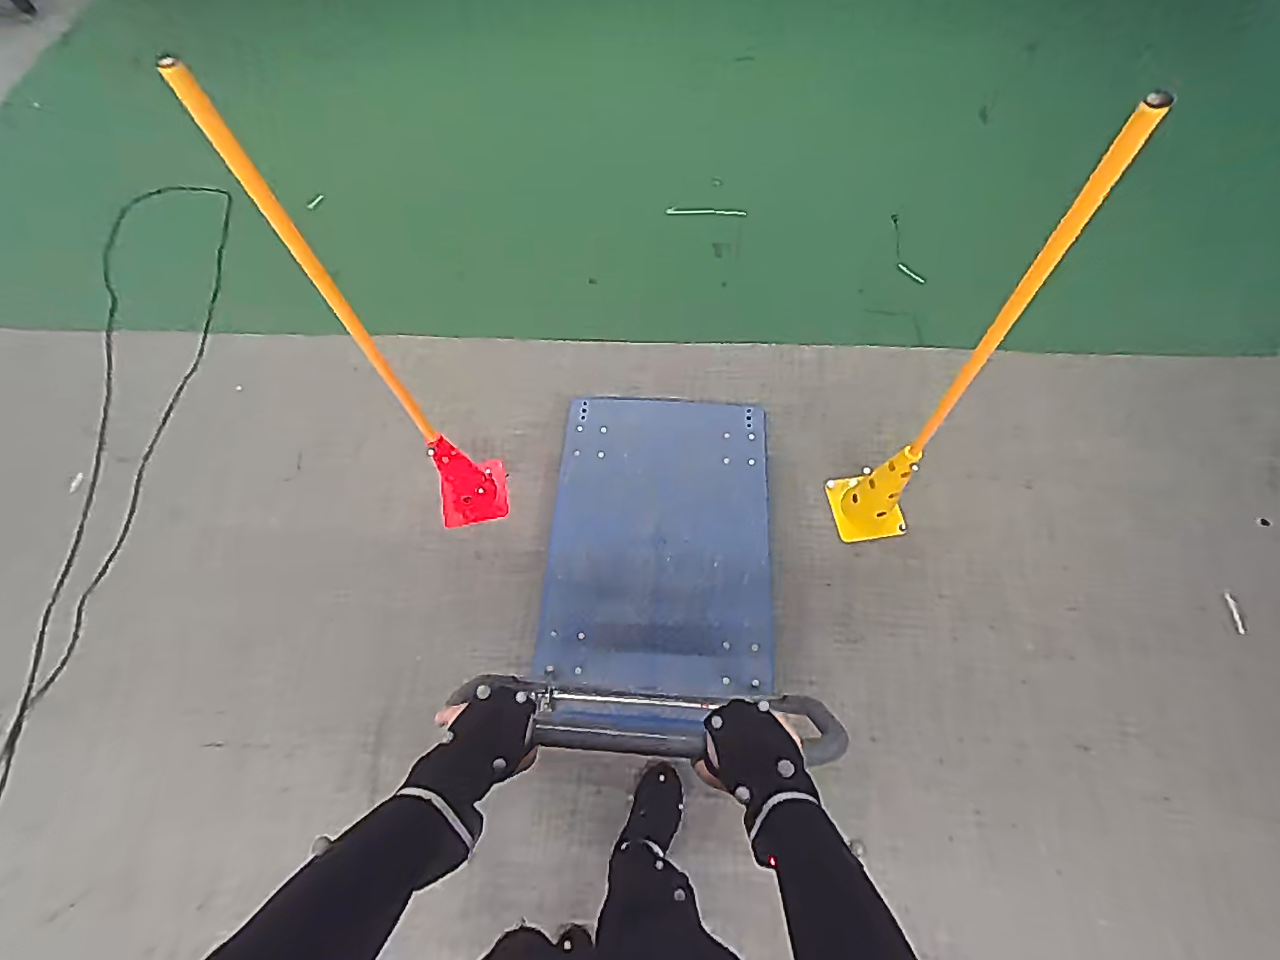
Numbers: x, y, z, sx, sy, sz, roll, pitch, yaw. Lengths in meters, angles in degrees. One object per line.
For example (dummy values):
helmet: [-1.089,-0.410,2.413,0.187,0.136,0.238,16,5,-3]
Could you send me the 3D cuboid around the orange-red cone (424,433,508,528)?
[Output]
orange-red cone: [-0.517,-0.026,1.512,0.199,0.360,0.198,-12,65,-2]
